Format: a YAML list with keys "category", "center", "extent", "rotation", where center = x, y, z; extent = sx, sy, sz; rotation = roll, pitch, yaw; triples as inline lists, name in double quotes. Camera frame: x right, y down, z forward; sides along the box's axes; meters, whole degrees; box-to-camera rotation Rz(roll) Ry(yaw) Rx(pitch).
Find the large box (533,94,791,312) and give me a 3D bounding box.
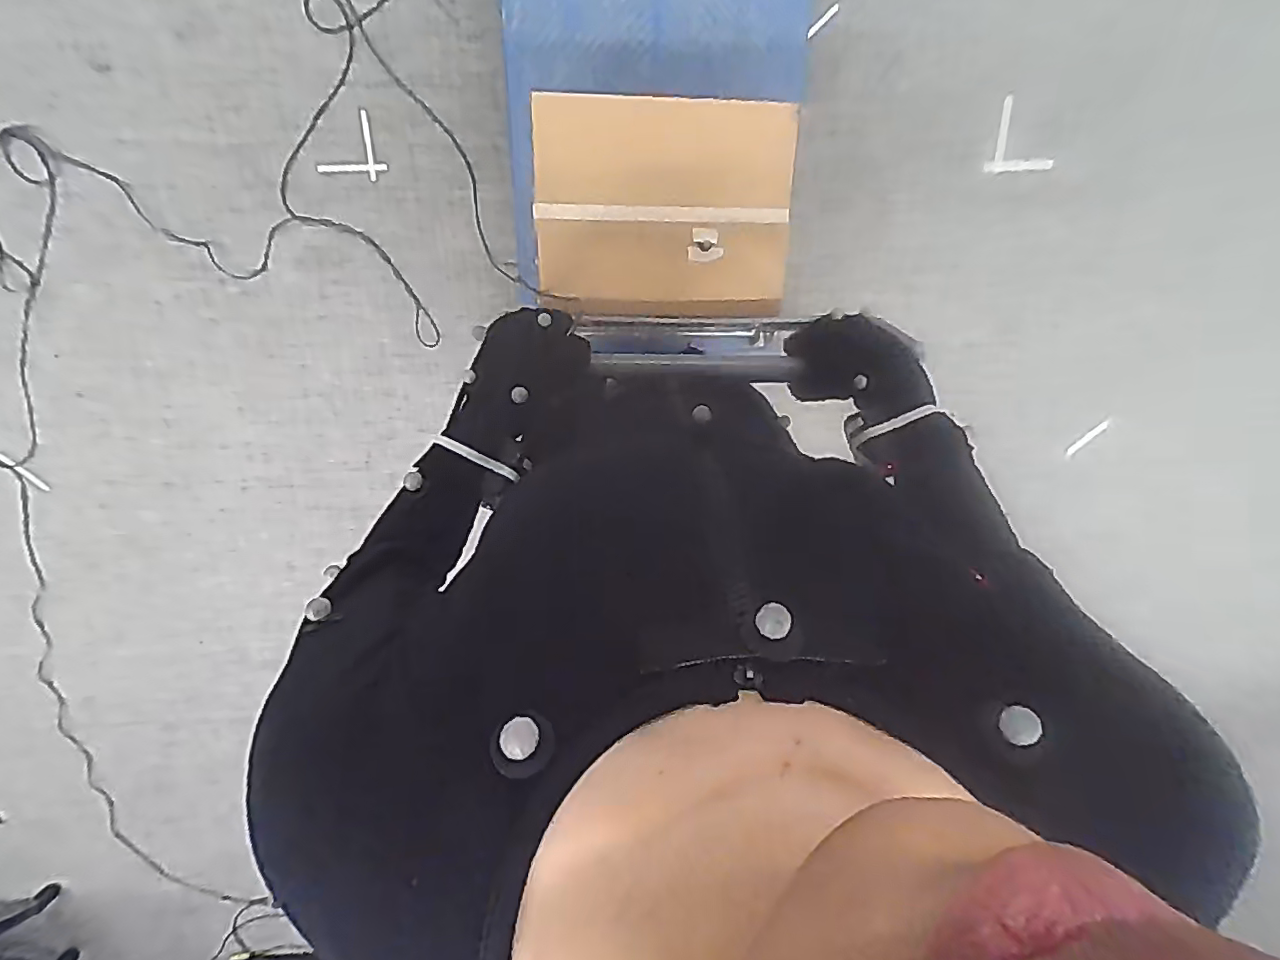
- category: "large box"
  center: [0.024, -0.485, 1.011]
  extent: [0.408, 0.320, 0.320]
  rotation: [-1, 110, -5]
